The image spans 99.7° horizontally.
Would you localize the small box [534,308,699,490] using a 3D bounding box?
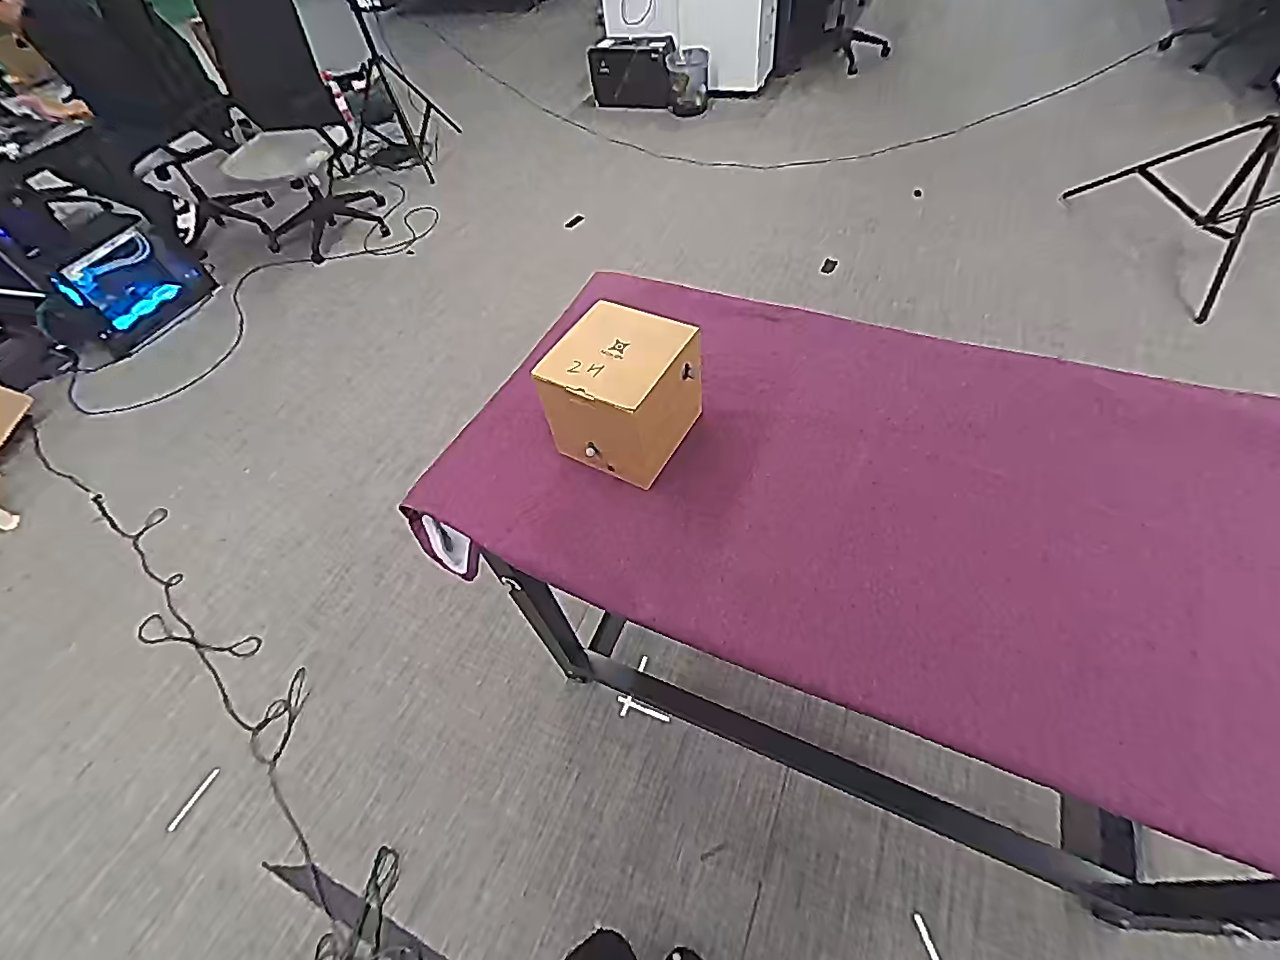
[{"bbox_3d":[-0.025,-0.118,0.797,0.168,0.176,0.179,22,59,23],"label":"small box"}]
